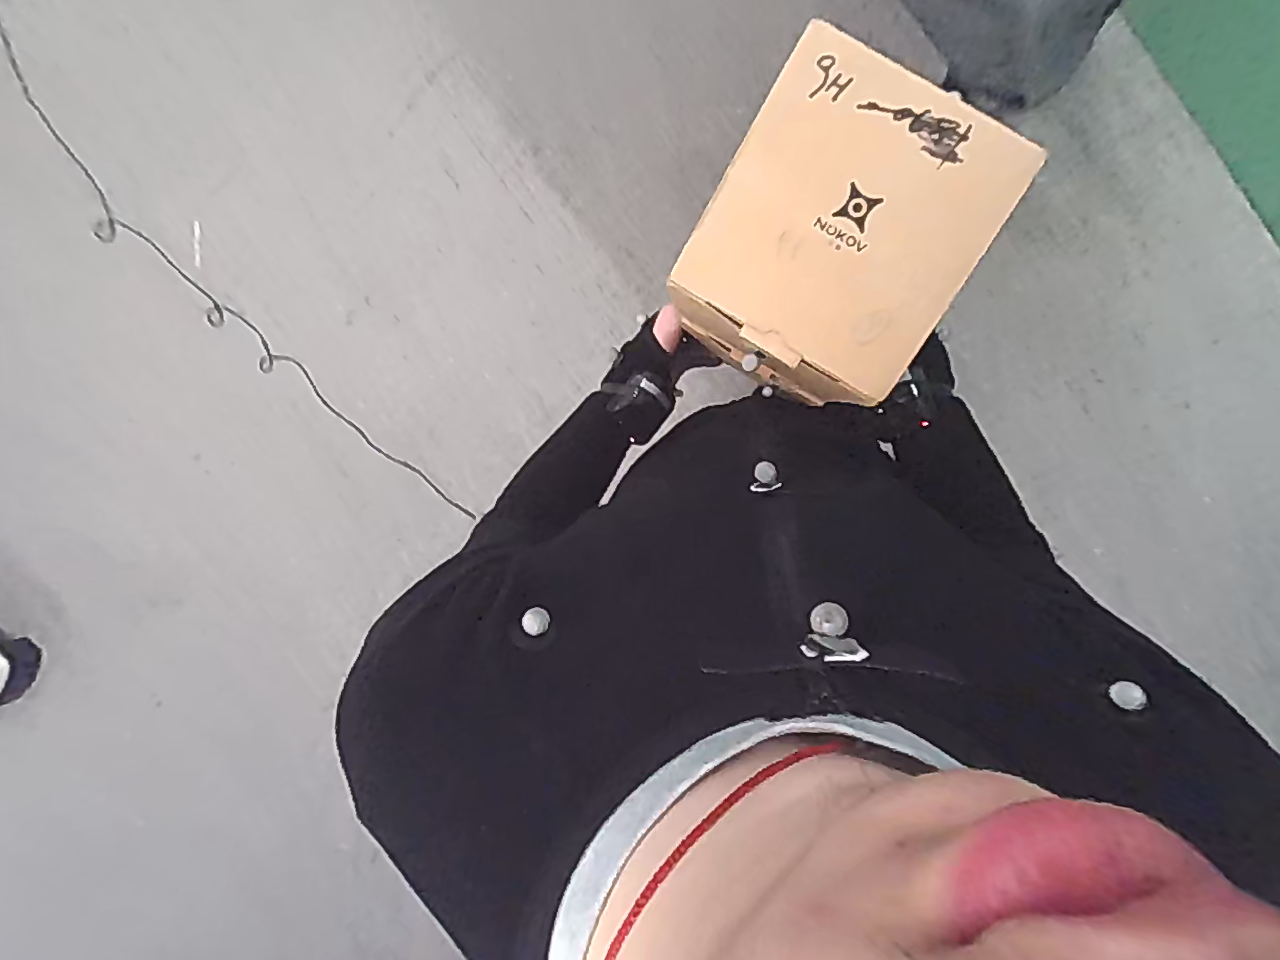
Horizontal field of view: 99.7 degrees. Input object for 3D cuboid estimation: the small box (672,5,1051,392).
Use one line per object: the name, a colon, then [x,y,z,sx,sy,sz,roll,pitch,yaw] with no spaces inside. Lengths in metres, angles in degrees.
small box: [0.143,-0.183,0.416,0.168,0.176,0.179,31,102,1]
